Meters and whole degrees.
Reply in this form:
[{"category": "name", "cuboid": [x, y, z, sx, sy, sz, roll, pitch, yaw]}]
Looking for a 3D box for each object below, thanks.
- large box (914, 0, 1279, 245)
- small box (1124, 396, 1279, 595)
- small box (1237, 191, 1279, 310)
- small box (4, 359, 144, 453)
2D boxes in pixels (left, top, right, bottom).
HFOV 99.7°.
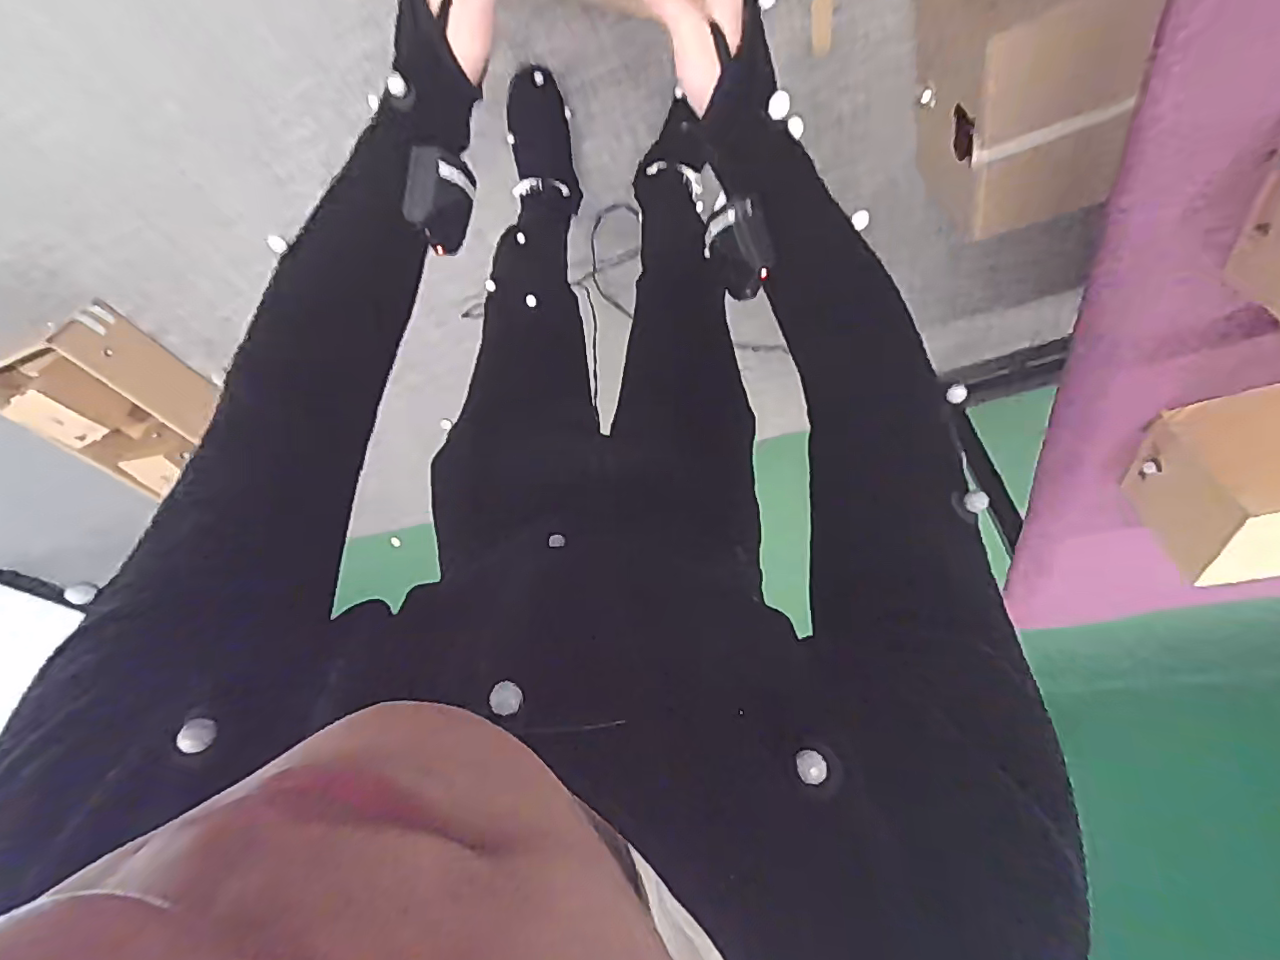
[{"category": "large box", "cuboid": [0.705, -0.659, 0.868, 0.408, 0.320, 0.320, -15, 139, 17]}, {"category": "small box", "cuboid": [0.747, 0.014, 0.646, 0.179, 0.176, 0.168, -13, 138, 16]}, {"category": "small box", "cuboid": [0.610, -0.197, 0.385, 0.179, 0.176, 0.168, -16, 139, 17]}, {"category": "small box", "cuboid": [-1.544, -0.209, 1.486, 0.168, 0.176, 0.179, -17, 138, 19]}]
